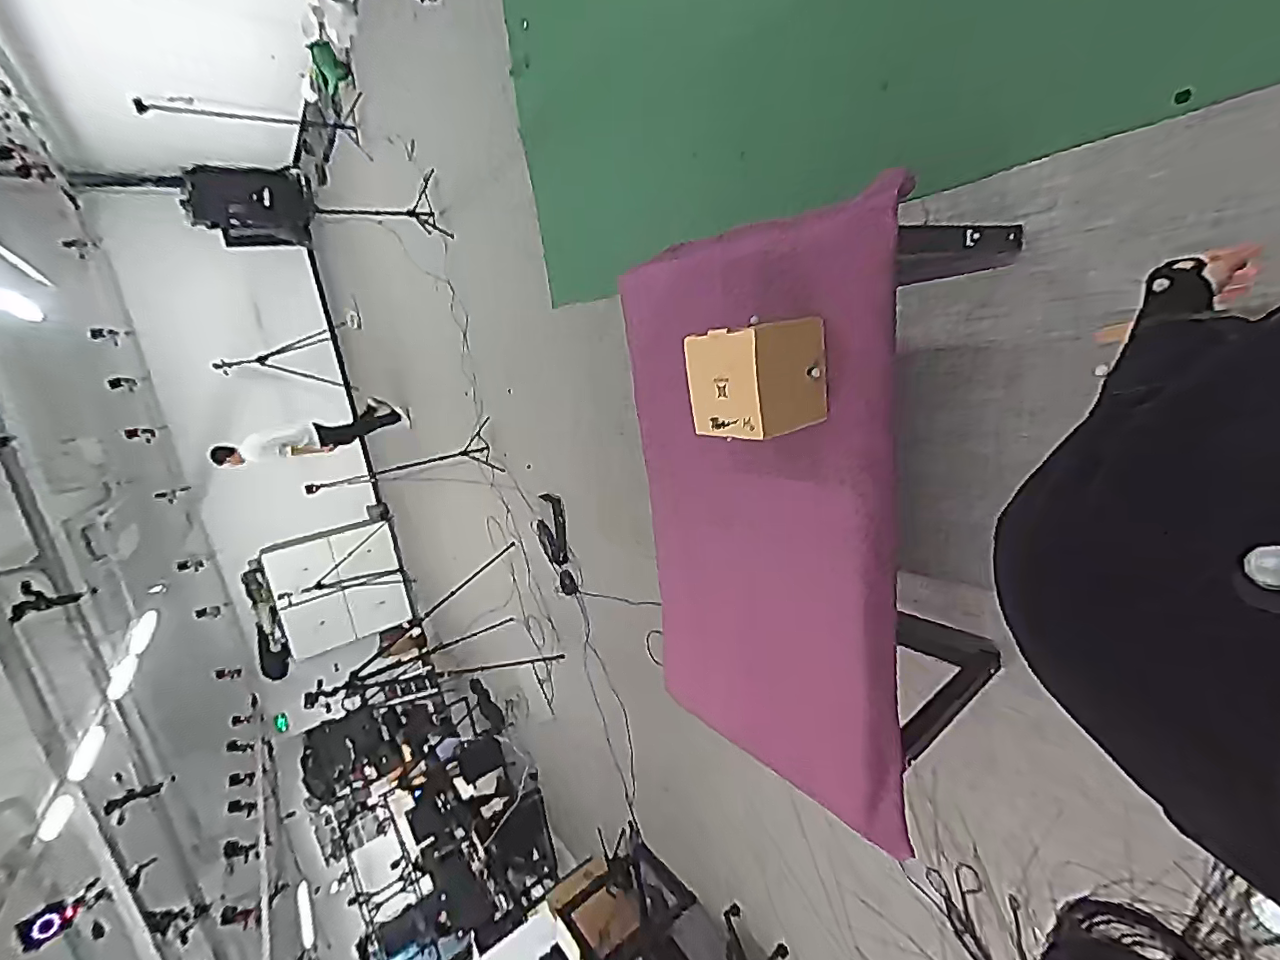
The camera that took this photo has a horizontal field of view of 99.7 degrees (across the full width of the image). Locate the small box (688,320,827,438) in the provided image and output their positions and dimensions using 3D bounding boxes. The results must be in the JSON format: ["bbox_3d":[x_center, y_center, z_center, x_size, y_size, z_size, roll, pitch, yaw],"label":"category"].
[{"bbox_3d":[0.205,-0.180,0.937,0.168,0.176,0.179,14,115,55],"label":"small box"}]
